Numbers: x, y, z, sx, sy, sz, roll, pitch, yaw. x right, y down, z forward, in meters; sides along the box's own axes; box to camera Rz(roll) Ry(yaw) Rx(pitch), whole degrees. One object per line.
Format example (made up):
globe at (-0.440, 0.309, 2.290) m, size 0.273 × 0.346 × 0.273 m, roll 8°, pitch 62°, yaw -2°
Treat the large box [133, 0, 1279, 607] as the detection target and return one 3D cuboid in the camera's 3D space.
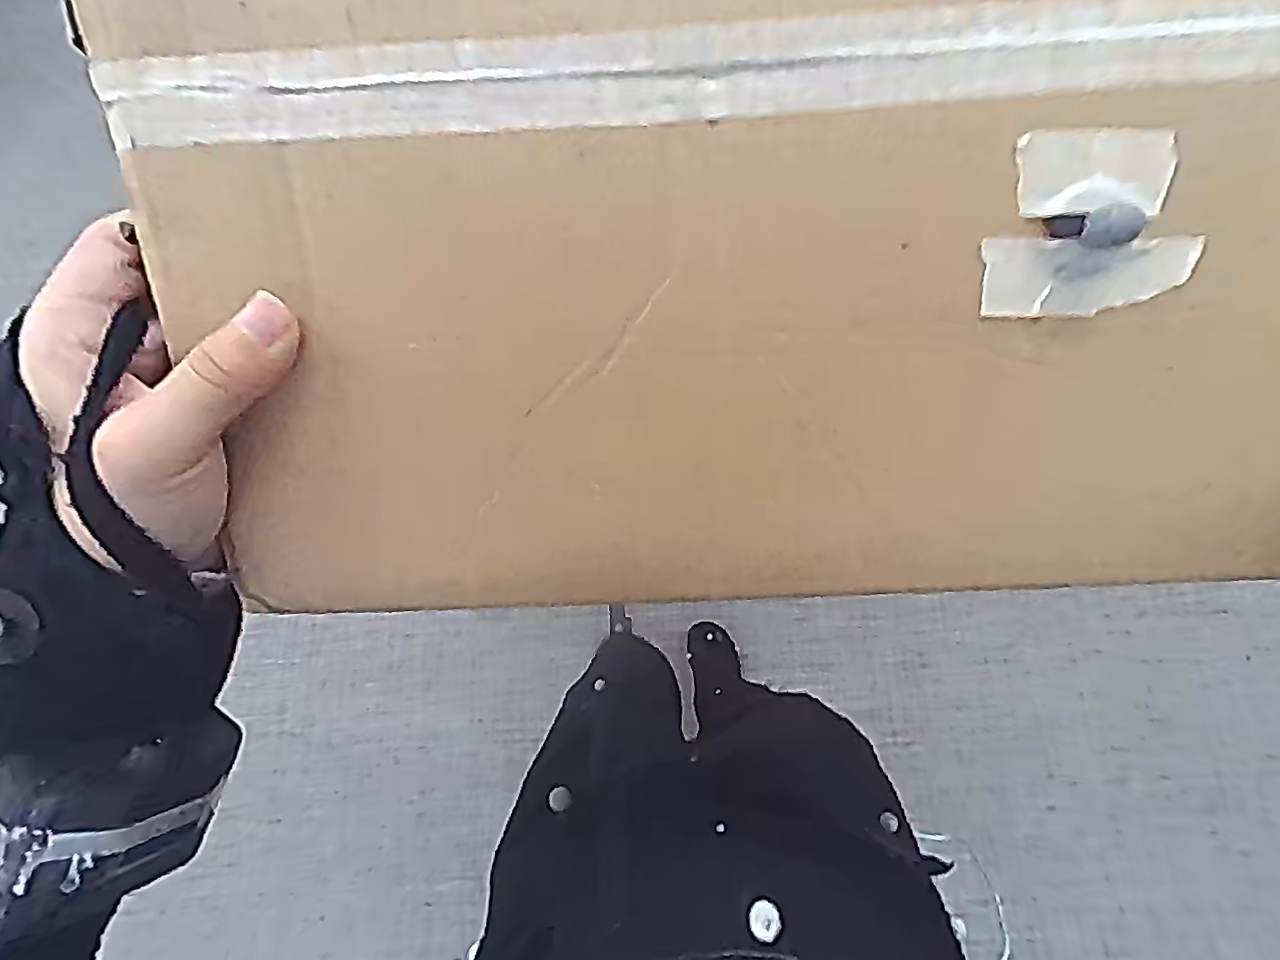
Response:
large box at (0.055, -0.151, 0.301) m, size 0.408 × 0.320 × 0.320 m, roll -3°, pitch 105°, yaw 1°
